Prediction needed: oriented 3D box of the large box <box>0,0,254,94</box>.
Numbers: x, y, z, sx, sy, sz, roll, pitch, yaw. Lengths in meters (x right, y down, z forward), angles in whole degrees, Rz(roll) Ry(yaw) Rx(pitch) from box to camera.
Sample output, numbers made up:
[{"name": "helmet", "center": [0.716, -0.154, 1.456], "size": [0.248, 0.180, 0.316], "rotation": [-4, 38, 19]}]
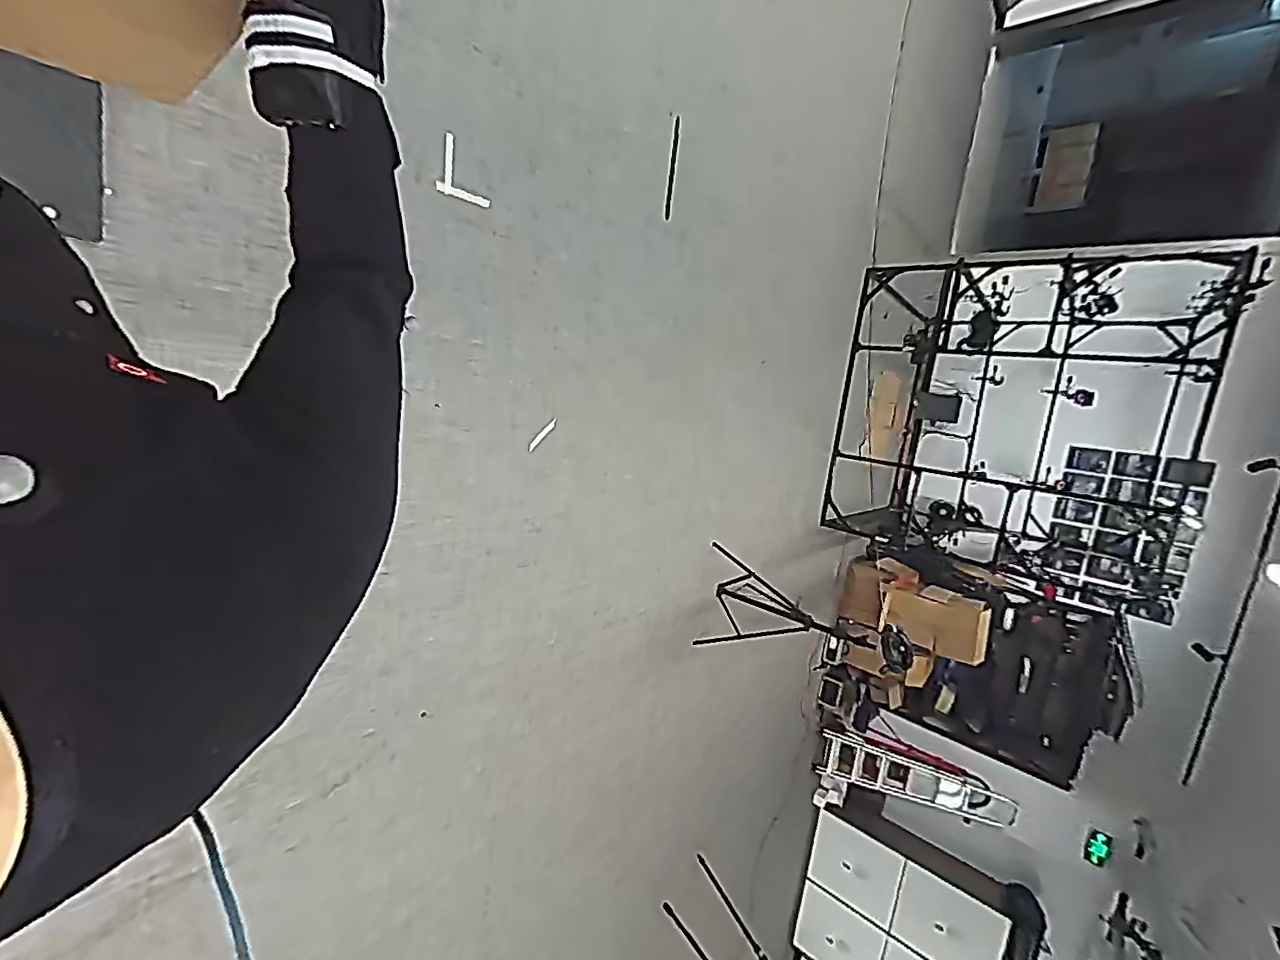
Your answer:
[{"name": "large box", "center": [-0.455, -0.474, 0.257], "size": [0.408, 0.320, 0.320], "rotation": [-8, 107, -50]}]

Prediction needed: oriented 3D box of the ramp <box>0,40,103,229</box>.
[{"name": "ramp", "center": [-1.057, -0.923, 0.717], "size": [0.509, 0.206, 0.991], "rotation": [-7, 107, -51]}]
